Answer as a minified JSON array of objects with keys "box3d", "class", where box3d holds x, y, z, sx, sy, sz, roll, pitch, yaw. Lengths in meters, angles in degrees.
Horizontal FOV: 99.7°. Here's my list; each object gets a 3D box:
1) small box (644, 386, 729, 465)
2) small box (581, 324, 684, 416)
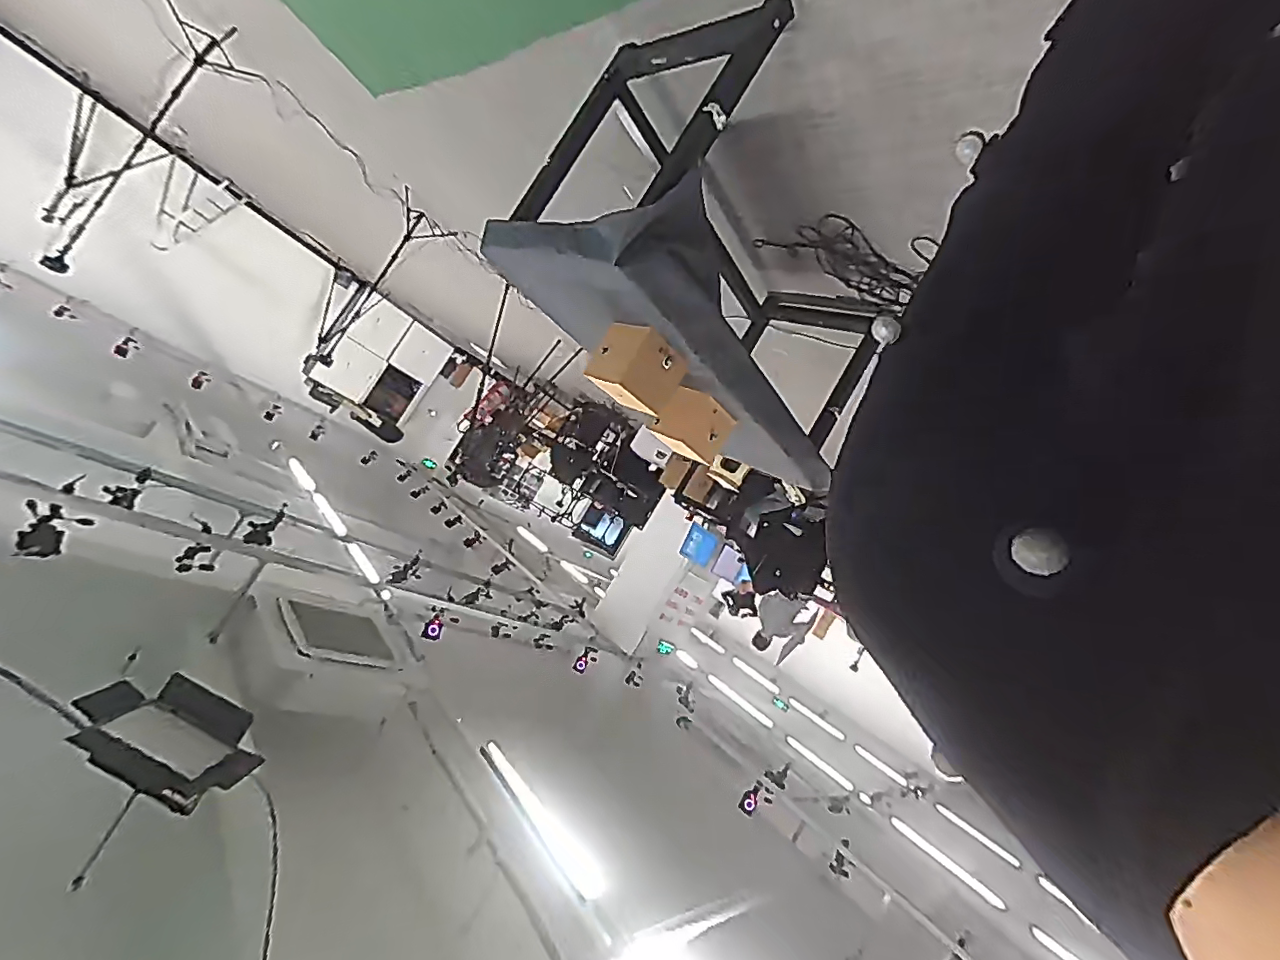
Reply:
[{"box3d":[0.152,-0.174,1.673,0.168,0.176,0.179,34,175,-42],"class":"small box"},{"box3d":[-0.018,-0.294,1.422,0.168,0.176,0.179,32,175,-41],"class":"small box"}]
